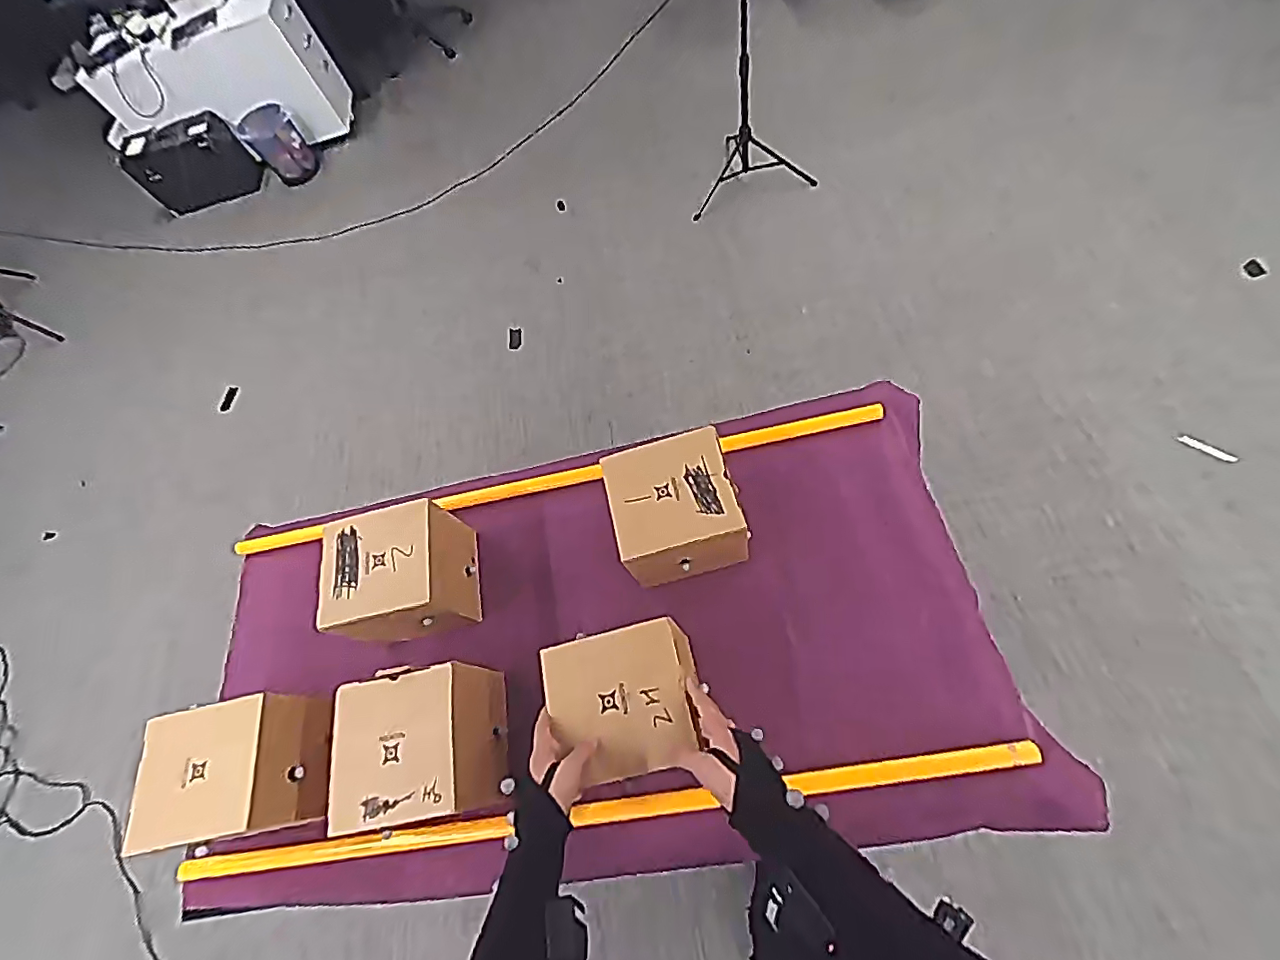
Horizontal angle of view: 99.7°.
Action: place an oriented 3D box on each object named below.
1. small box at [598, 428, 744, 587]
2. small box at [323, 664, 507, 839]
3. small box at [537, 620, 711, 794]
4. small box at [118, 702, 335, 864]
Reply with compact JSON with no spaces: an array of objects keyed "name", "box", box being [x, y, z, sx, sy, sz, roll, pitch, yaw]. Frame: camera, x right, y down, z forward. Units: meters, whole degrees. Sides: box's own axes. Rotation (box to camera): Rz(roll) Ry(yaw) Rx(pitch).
[{"name":"small box","box":[0.052,0.049,0.817,0.179,0.176,0.168,-17,64,5]},{"name":"small box","box":[-0.294,0.368,0.741,0.168,0.176,0.179,-14,62,7]},{"name":"small box","box":[-0.016,0.299,0.710,0.179,0.176,0.168,-16,63,6]},{"name":"small box","box":[-0.566,0.423,0.773,0.179,0.176,0.168,-14,62,5]}]
